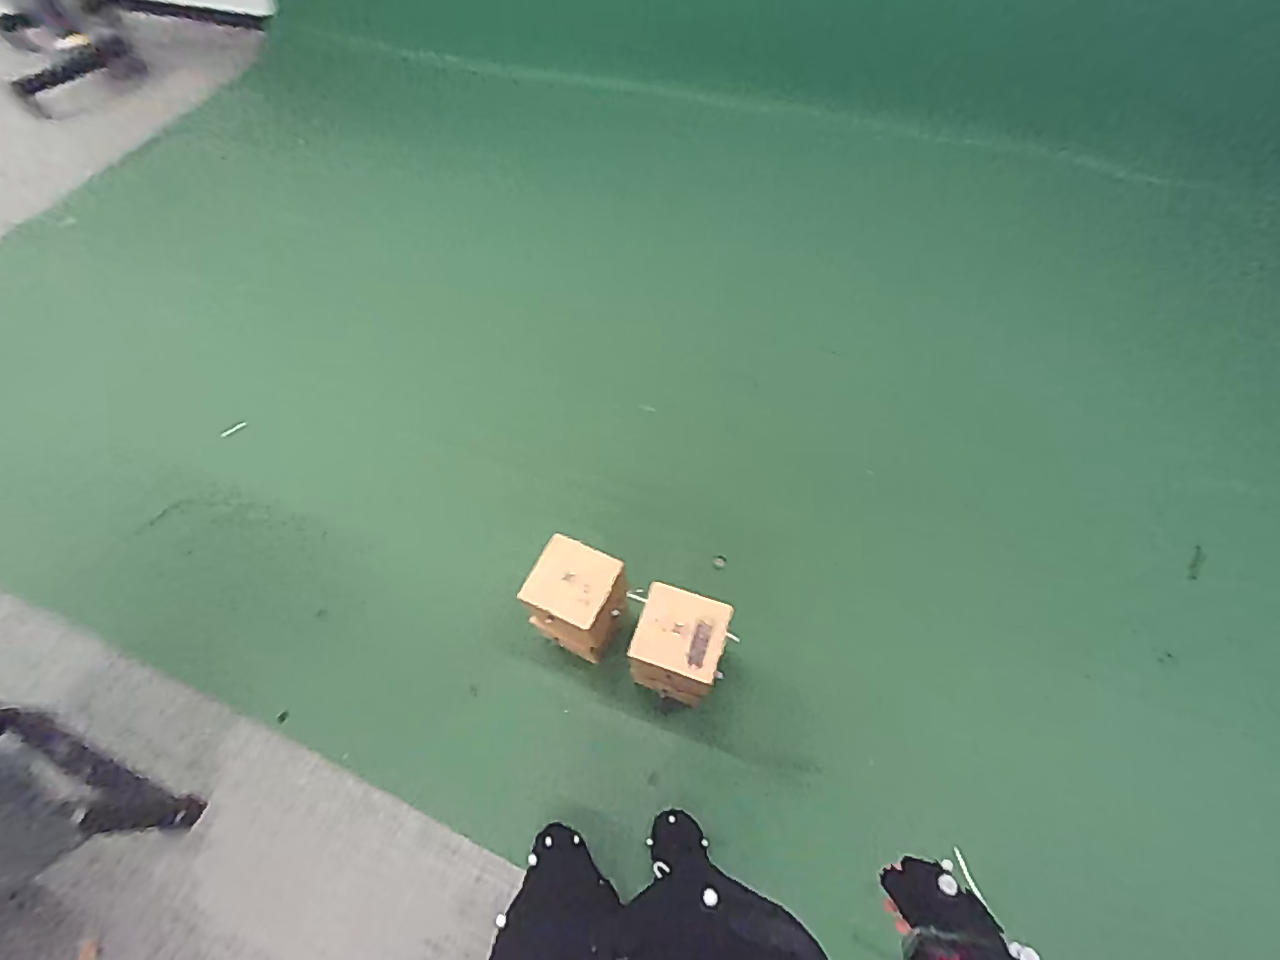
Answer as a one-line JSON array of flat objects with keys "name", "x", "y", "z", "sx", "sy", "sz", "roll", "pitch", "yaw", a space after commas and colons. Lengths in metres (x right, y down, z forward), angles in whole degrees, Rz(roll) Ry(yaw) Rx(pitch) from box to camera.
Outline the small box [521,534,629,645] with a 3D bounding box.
[{"name": "small box", "x": -0.140, "y": 0.256, "z": 1.234, "sx": 0.179, "sy": 0.176, "sz": 0.168, "roll": 23, "pitch": 64, "yaw": 16}]

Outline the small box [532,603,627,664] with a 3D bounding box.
[{"name": "small box", "x": -0.143, "y": 0.343, "z": 1.375, "sx": 0.168, "sy": 0.176, "sz": 0.179, "roll": 23, "pitch": 64, "yaw": 16}]
